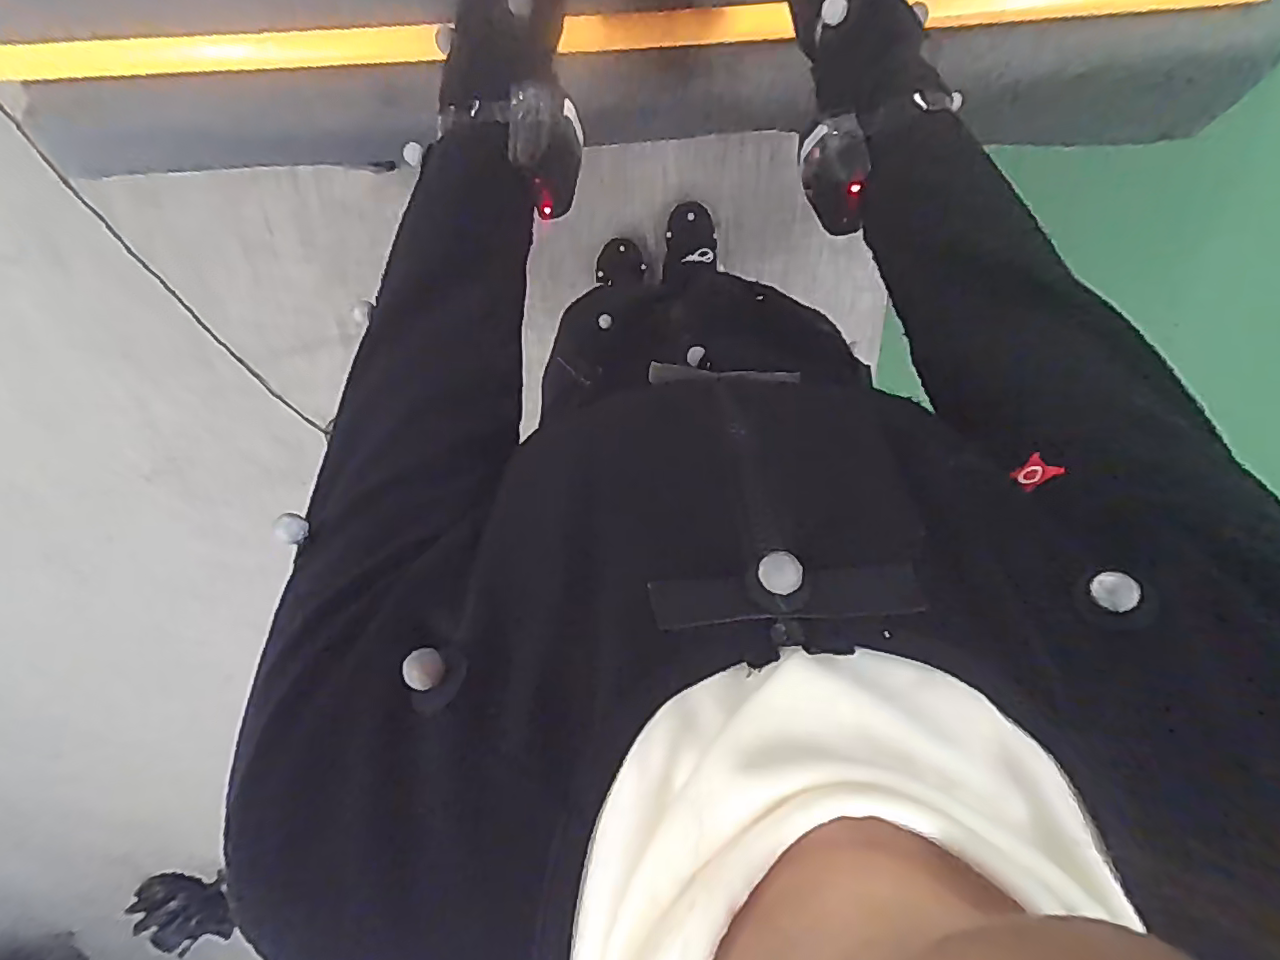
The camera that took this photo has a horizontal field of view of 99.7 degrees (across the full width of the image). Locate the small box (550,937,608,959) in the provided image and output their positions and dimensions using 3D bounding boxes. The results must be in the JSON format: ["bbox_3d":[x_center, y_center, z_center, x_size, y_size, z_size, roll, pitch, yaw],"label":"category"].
[{"bbox_3d":[-0.198,1.641,1.768,0.168,0.176,0.179,-11,117,2],"label":"small box"}]
